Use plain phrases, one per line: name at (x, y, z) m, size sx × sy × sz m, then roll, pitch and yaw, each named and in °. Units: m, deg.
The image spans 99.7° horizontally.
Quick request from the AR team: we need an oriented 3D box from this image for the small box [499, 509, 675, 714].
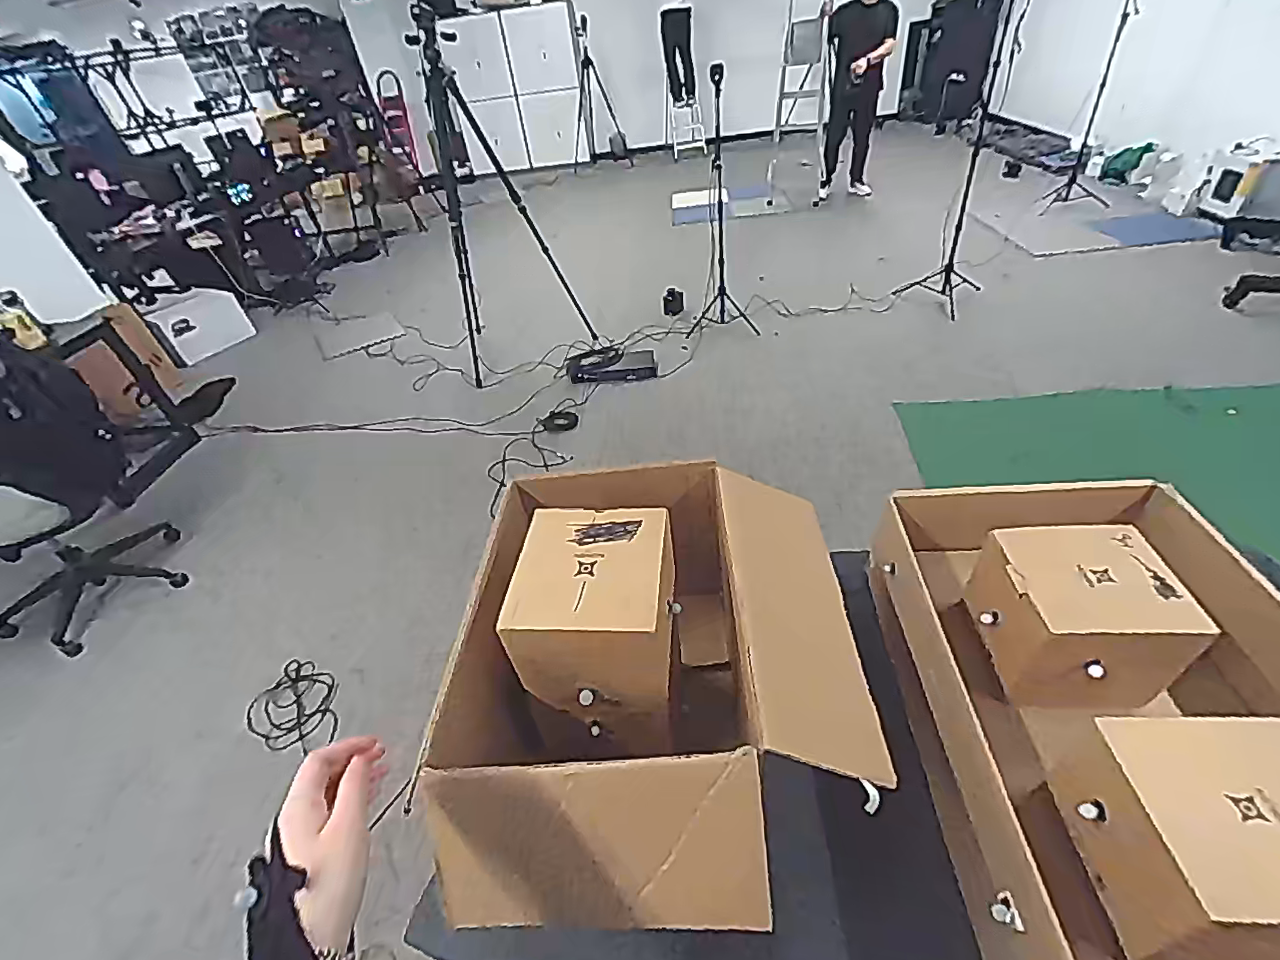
small box at (-0.047, 0.154, 0.651) m, size 0.168 × 0.176 × 0.179 m, roll -1°, pitch 43°, yaw 9°
